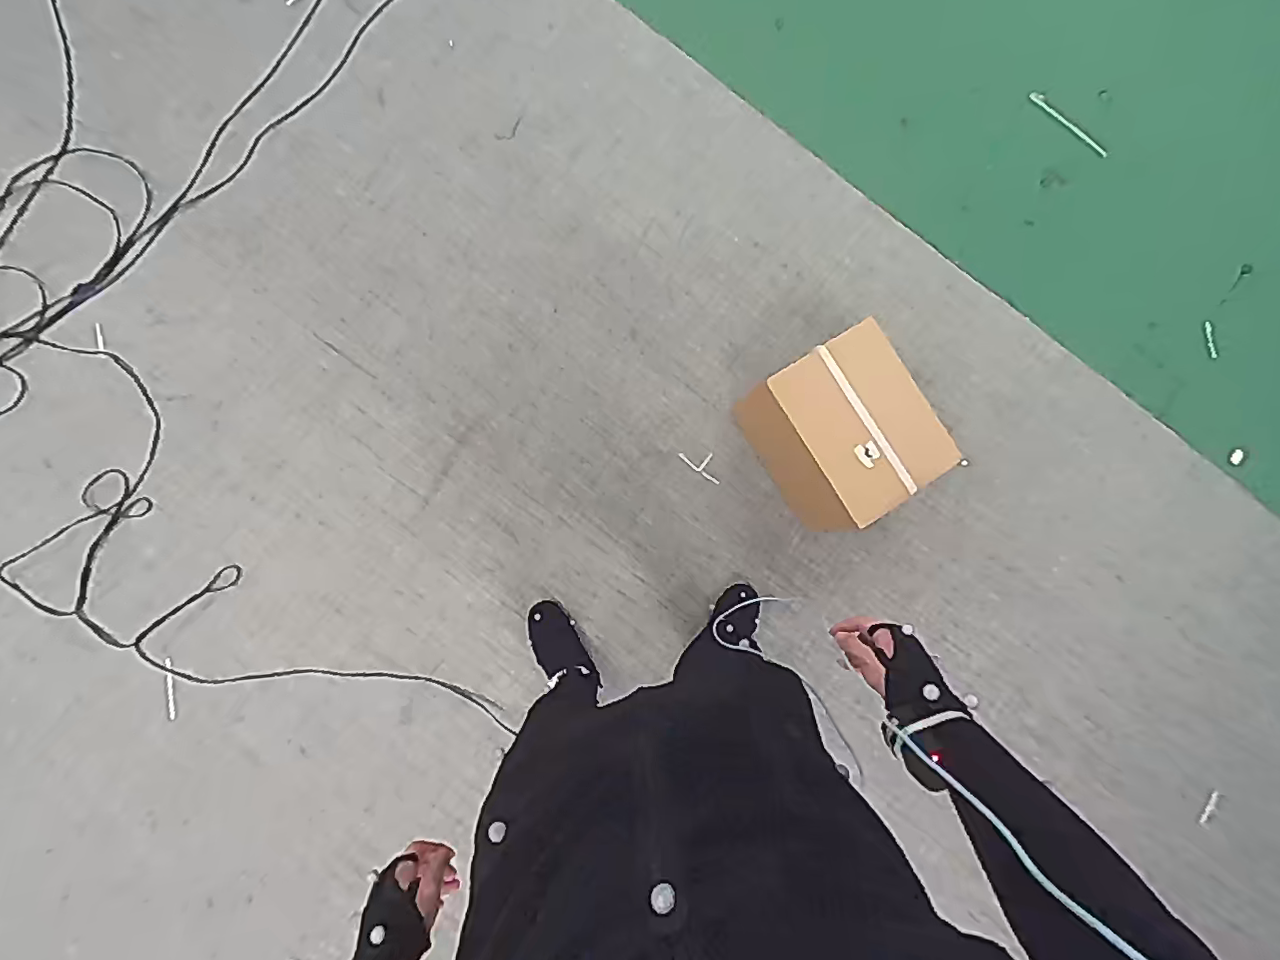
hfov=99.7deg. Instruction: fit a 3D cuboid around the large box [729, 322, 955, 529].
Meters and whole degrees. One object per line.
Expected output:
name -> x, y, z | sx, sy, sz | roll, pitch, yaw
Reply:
large box -> 0.495, -0.121, 1.405 | 0.320, 0.320, 0.408 | -32, 88, -8
